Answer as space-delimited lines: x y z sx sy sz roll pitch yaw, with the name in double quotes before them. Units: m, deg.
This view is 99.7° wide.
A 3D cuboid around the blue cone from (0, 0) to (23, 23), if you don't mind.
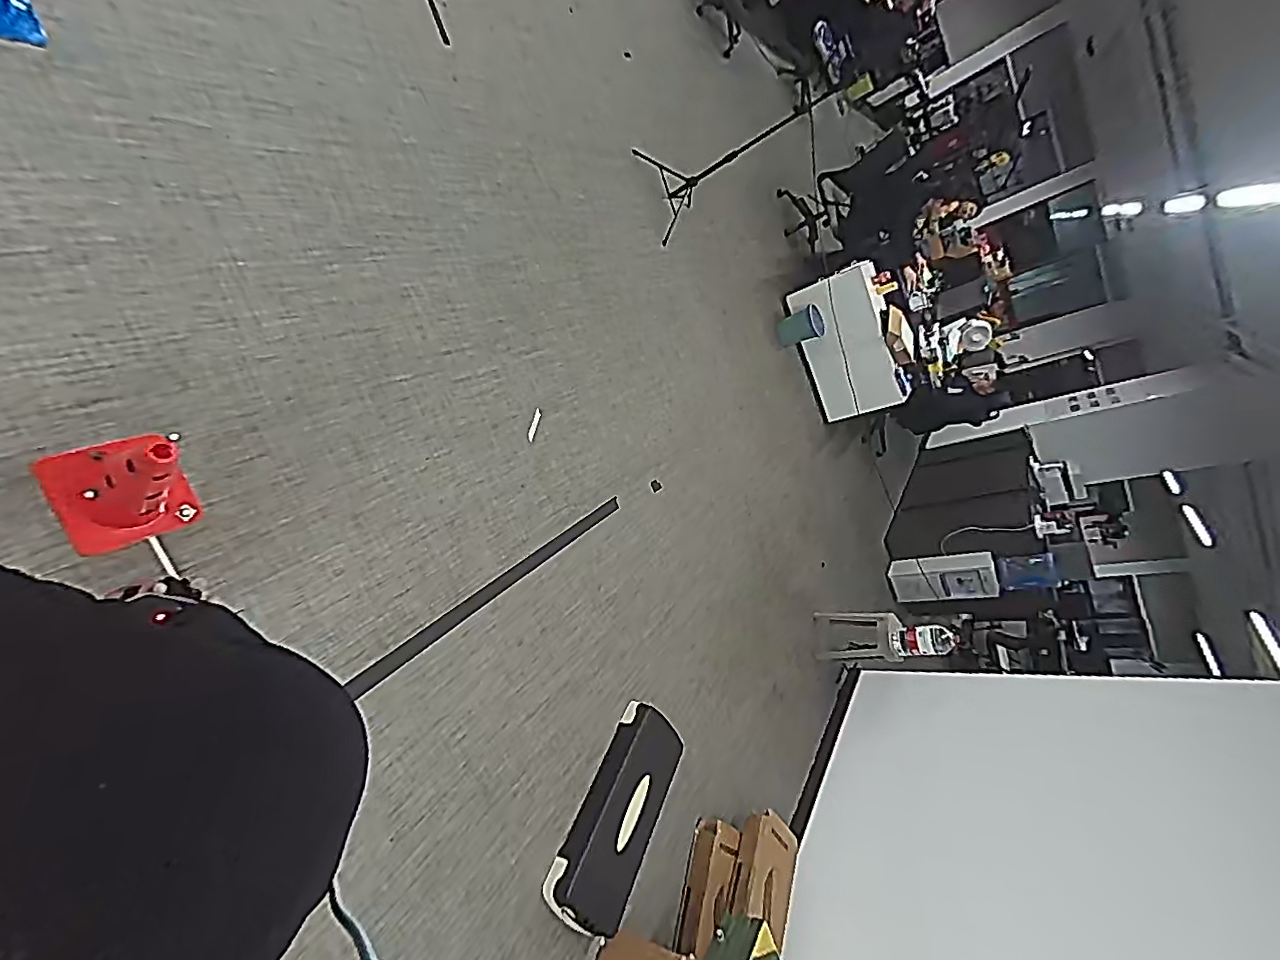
"blue cone" -1.192 -1.003 0.910 0.193 0.380 0.192 -30 101 -51
